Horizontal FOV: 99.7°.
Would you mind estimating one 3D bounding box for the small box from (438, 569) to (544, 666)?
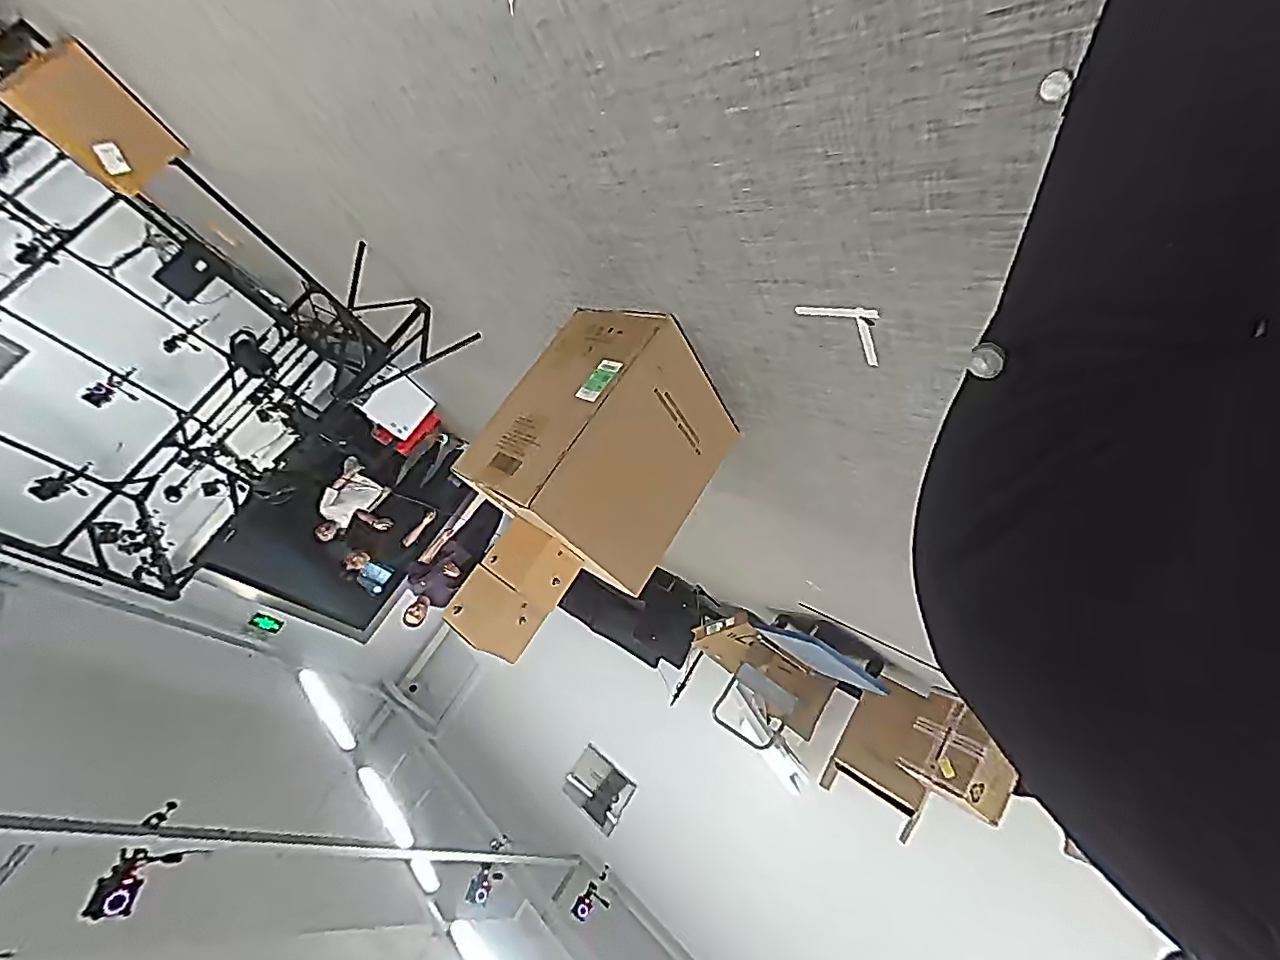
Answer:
[{"bbox_3d":[-0.389,0.357,1.432,0.179,0.176,0.168,23,163,38],"label":"small box"}]

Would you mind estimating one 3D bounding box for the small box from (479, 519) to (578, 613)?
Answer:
[{"bbox_3d":[-0.294,0.227,1.470,0.179,0.176,0.168,22,162,40],"label":"small box"}]
